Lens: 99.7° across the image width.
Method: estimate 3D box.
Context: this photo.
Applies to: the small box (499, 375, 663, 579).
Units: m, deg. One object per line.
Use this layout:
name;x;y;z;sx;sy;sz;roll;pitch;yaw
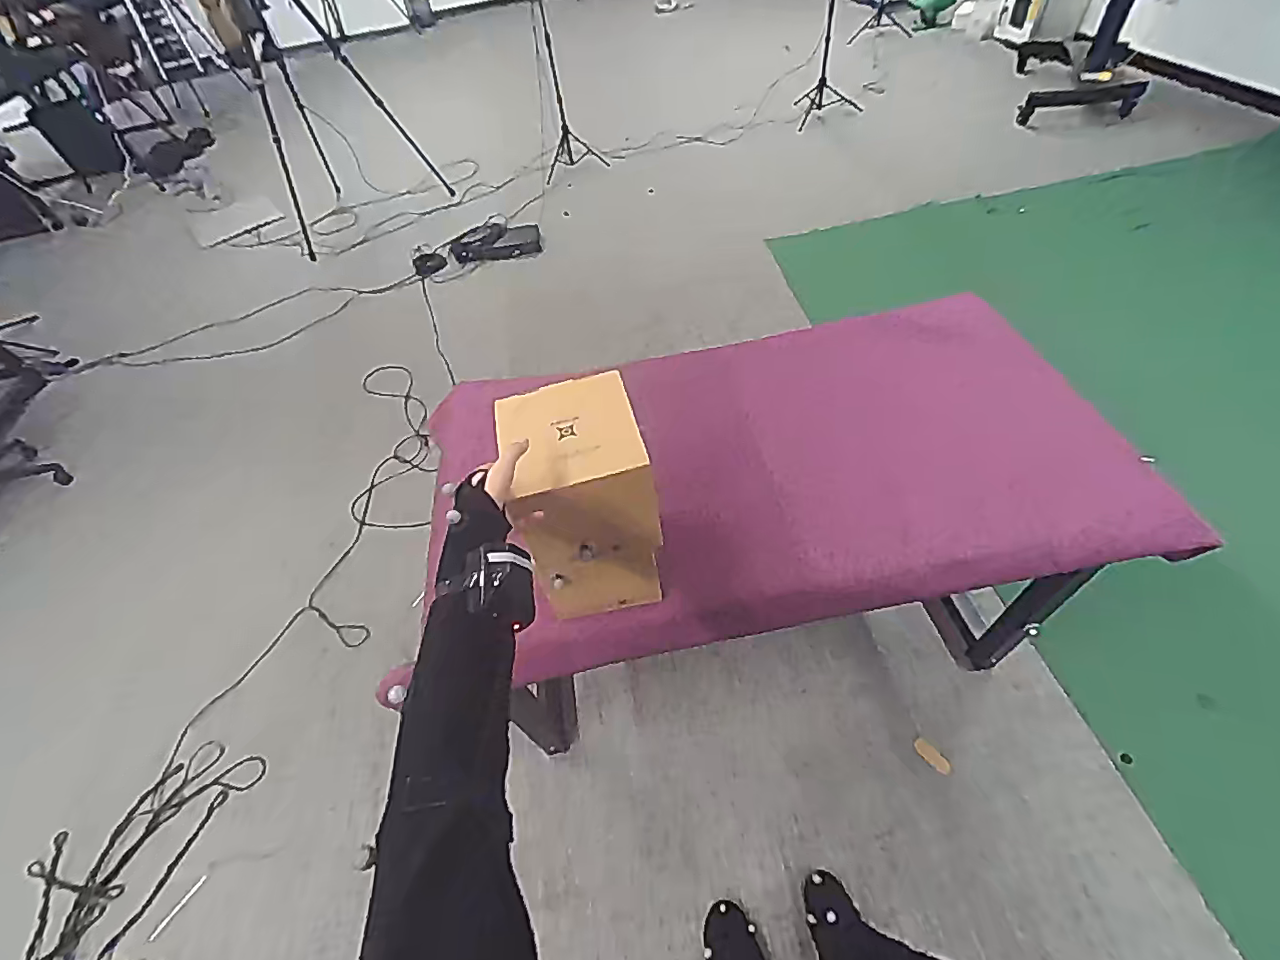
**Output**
small box;-0.073;-0.002;0.692;0.168;0.176;0.179;-15;49;-3
